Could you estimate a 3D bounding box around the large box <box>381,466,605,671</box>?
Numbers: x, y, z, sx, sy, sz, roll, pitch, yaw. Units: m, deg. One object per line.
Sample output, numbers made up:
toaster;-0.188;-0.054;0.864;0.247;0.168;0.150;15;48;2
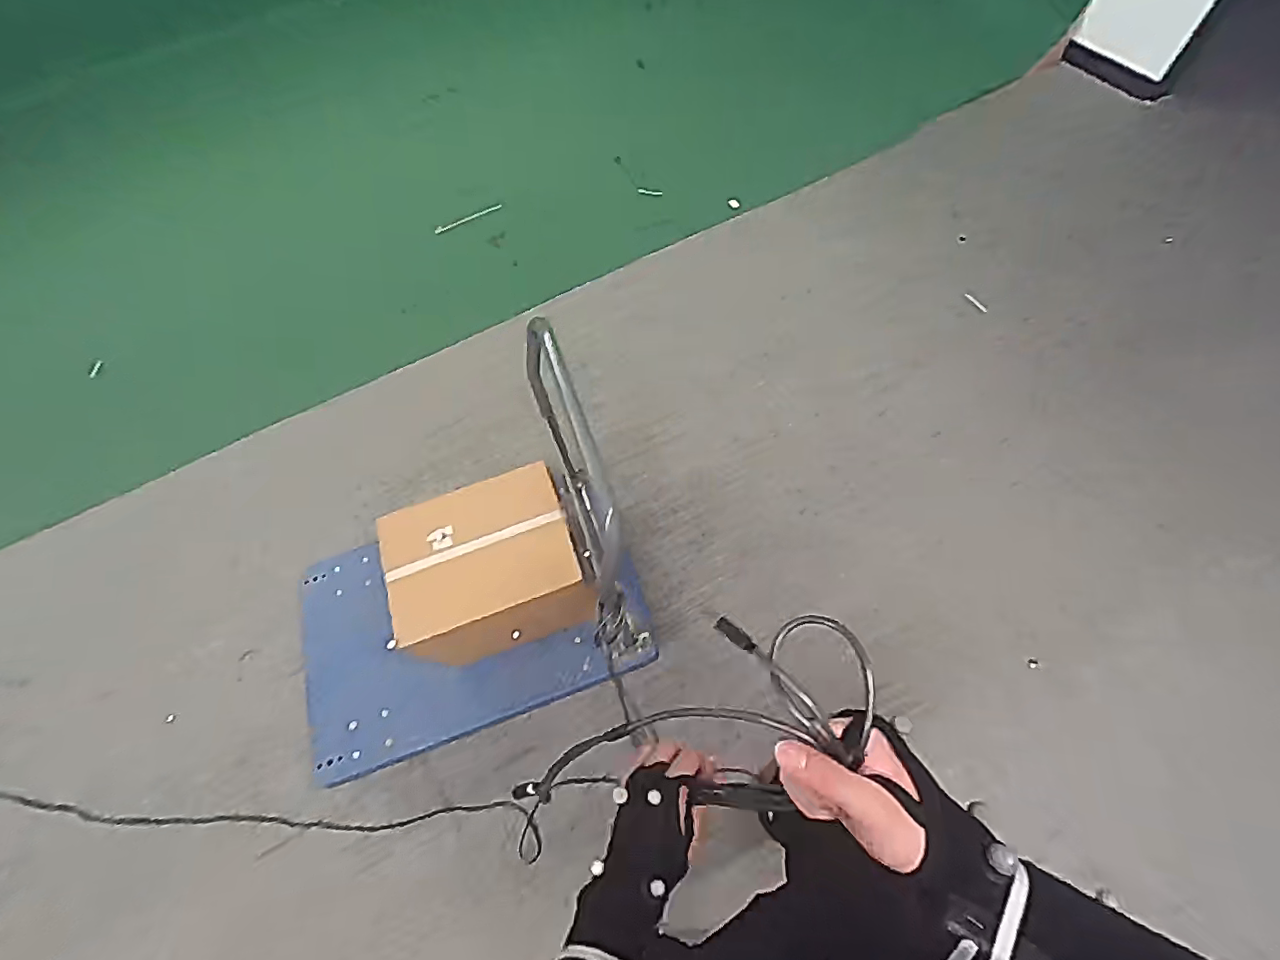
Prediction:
large box;-0.336;0.225;1.303;0.408;0.320;0.320;-20;63;-4
